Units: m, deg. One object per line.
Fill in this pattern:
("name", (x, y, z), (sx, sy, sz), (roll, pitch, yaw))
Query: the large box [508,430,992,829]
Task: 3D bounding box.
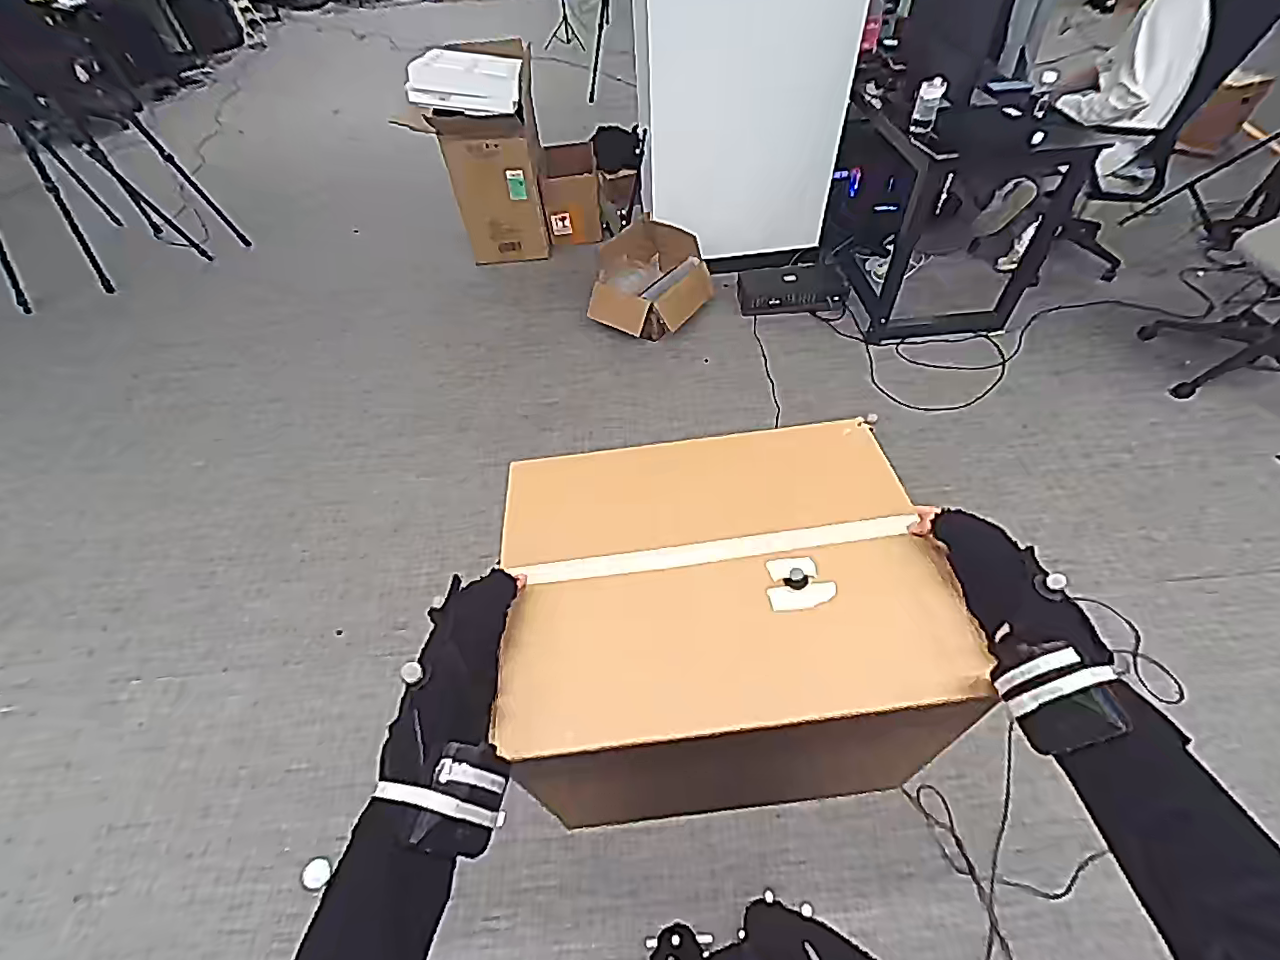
("large box", (0.084, 0.179, 0.639), (0.408, 0.320, 0.320), (-8, 48, 0))
